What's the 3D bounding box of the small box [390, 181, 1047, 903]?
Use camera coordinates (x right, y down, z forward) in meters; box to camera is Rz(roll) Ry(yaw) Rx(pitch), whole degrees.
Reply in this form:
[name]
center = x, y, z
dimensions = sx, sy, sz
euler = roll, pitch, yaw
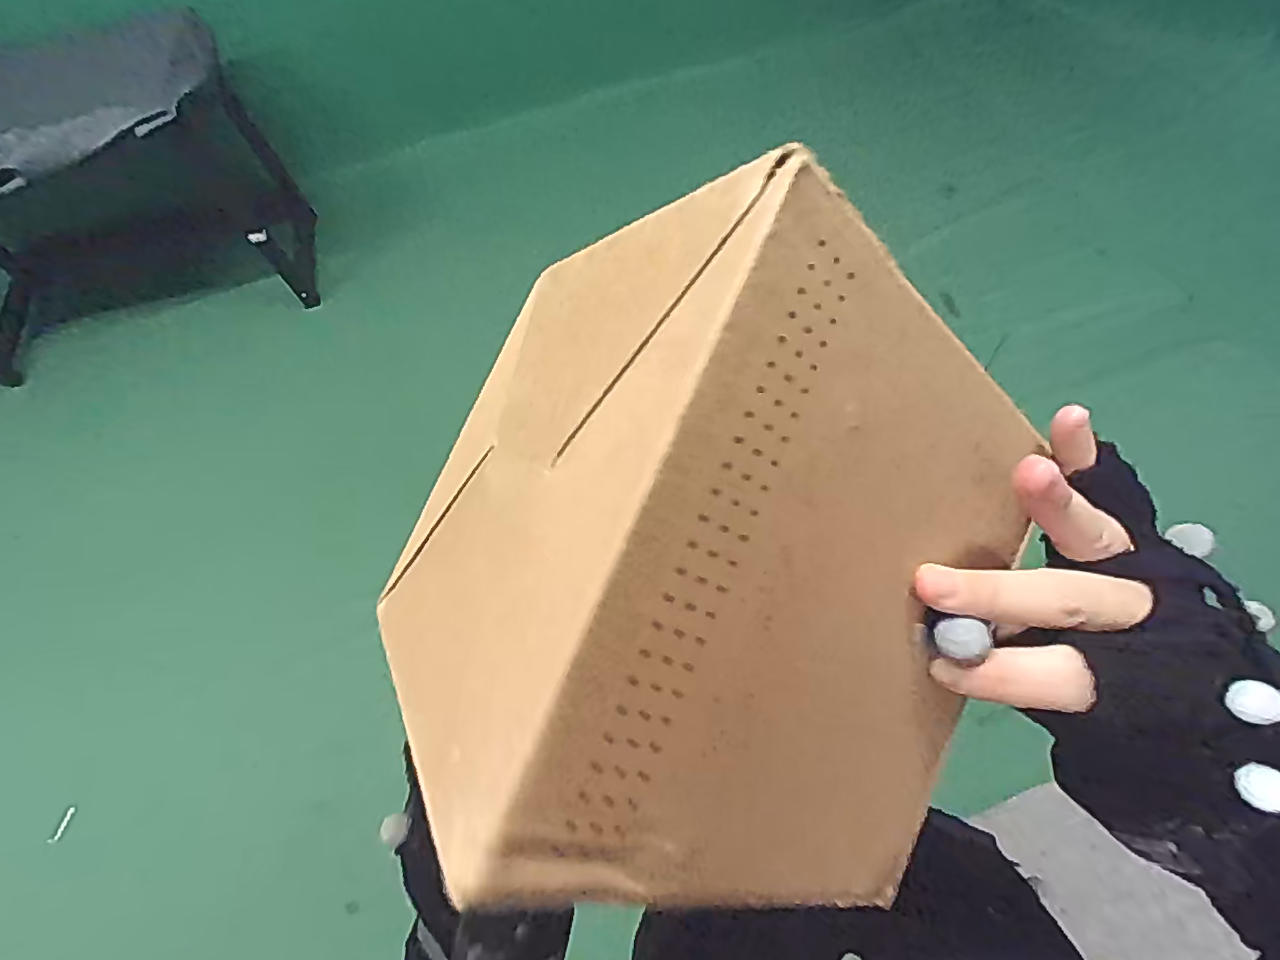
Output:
[small box]
center = 0.016, 0.026, 0.225
dimensions = 0.168, 0.176, 0.179
euler = 18, 83, 60
